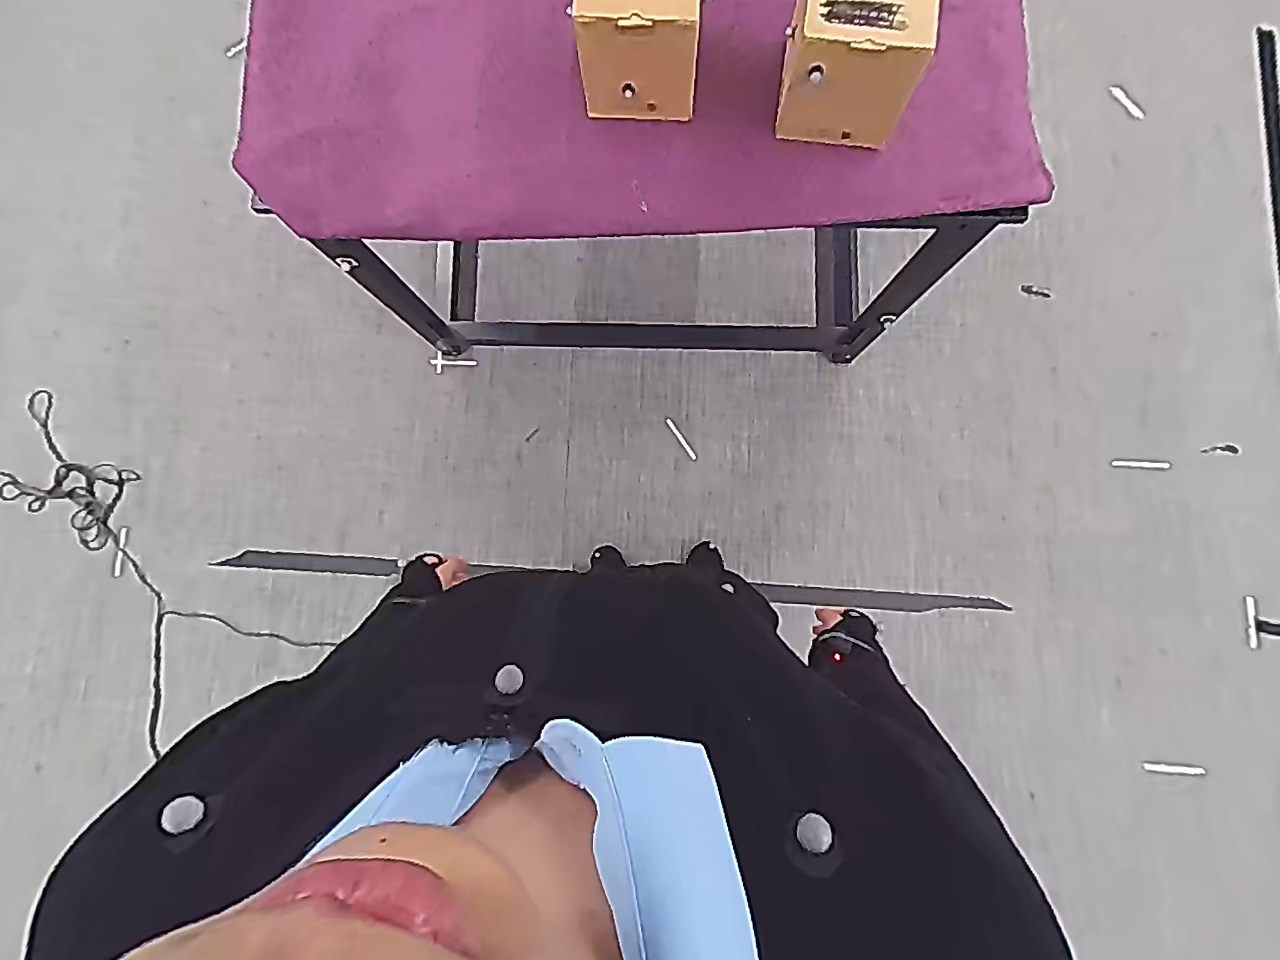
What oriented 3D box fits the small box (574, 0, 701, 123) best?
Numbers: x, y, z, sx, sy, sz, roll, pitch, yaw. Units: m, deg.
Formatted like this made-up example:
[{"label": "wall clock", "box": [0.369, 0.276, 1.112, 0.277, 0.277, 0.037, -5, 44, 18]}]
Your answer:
[{"label": "small box", "box": [0.002, -0.664, 0.784, 0.168, 0.176, 0.179, 4, 84, 2]}]
